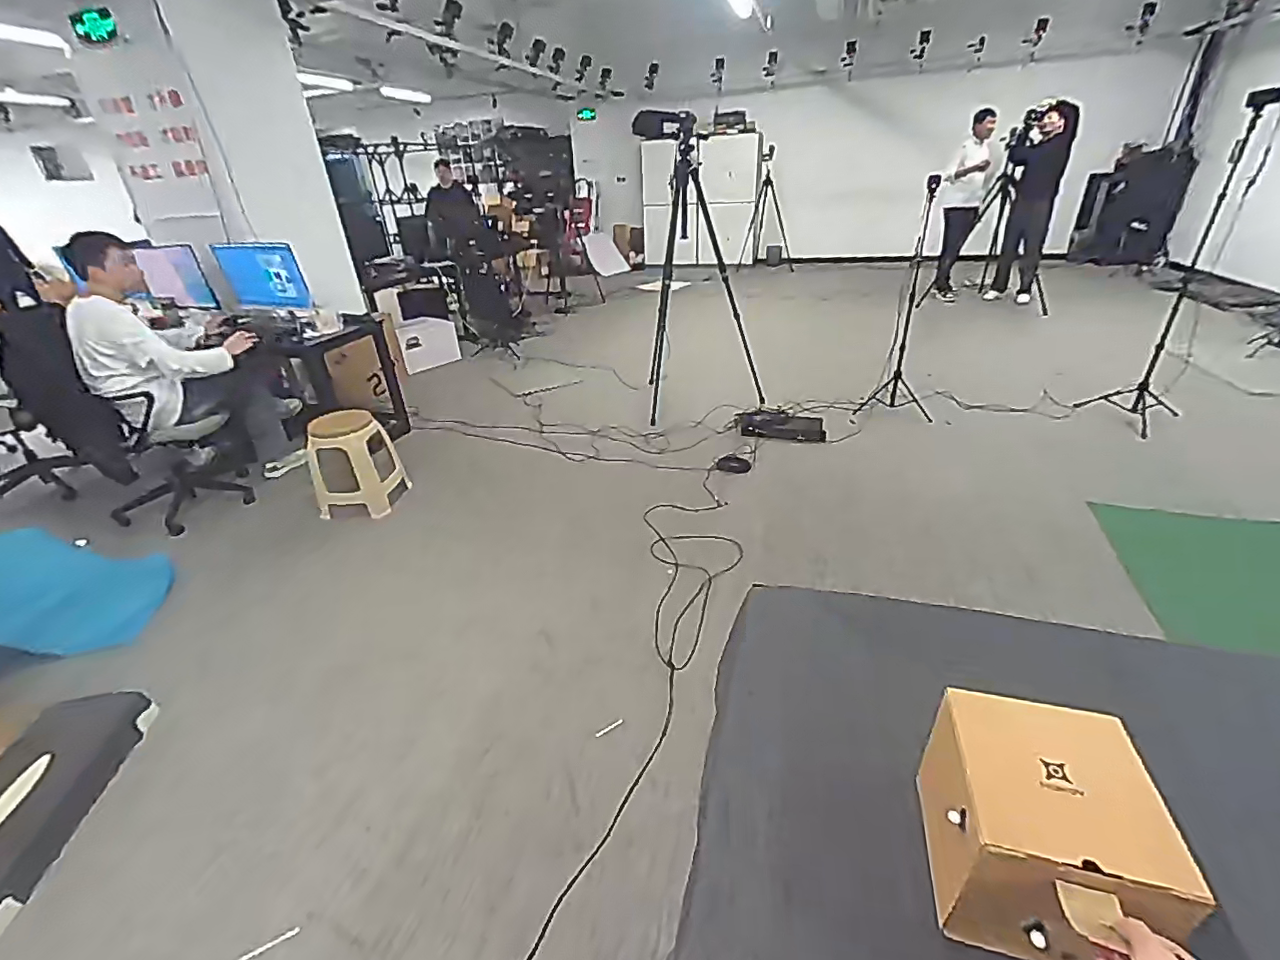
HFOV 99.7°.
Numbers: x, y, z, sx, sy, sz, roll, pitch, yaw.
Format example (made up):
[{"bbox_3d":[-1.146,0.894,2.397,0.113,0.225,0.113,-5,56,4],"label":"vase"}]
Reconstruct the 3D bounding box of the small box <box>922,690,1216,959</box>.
[{"bbox_3d":[0.408,0.358,0.560,0.168,0.176,0.179,6,31,15],"label":"small box"}]
